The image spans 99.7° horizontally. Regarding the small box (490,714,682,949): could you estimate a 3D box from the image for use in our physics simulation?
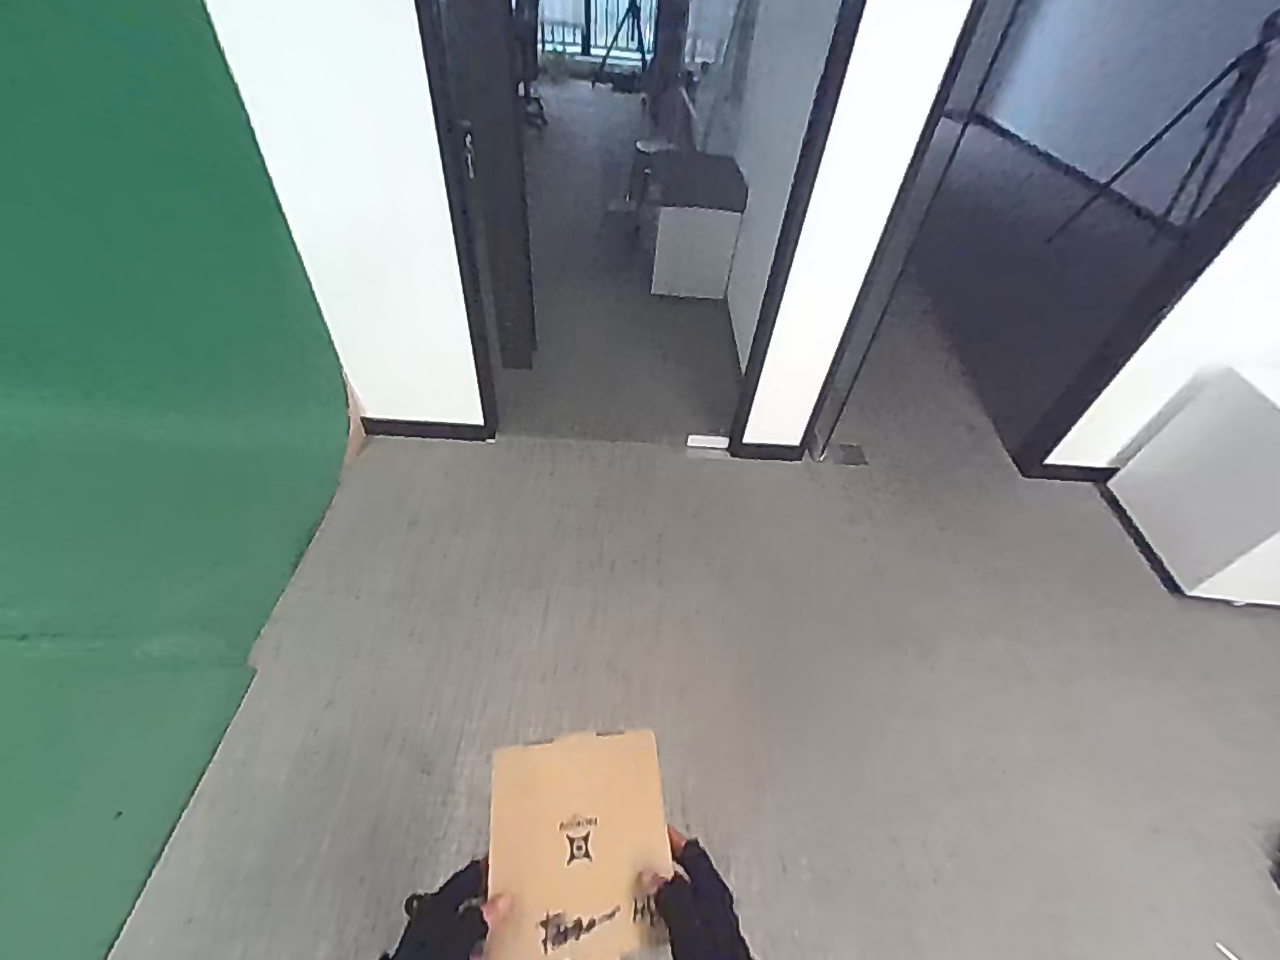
[{"bbox_3d":[-0.056,0.368,0.570,0.168,0.176,0.179,-4,52,-5],"label":"small box"}]
